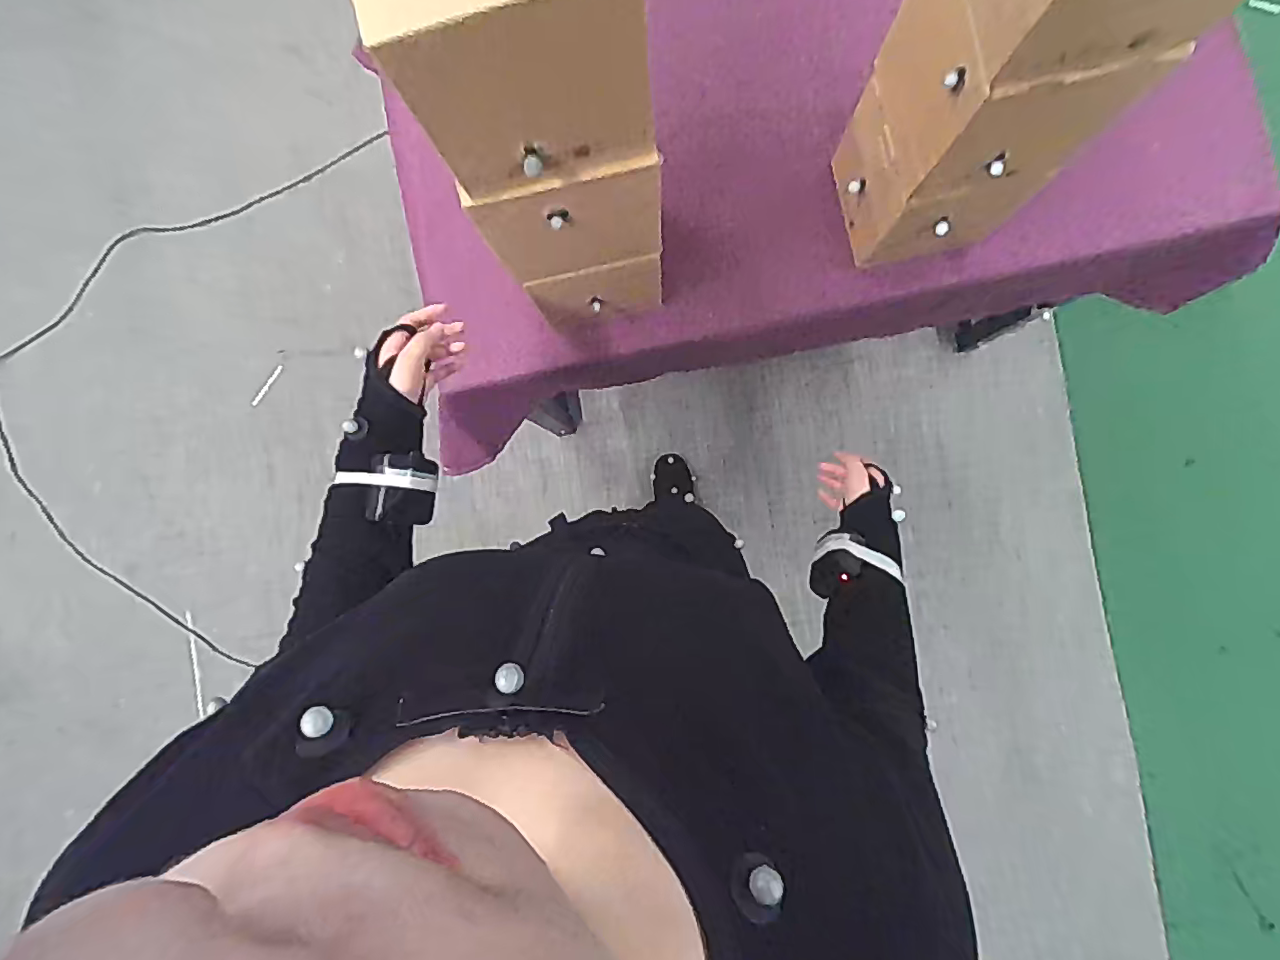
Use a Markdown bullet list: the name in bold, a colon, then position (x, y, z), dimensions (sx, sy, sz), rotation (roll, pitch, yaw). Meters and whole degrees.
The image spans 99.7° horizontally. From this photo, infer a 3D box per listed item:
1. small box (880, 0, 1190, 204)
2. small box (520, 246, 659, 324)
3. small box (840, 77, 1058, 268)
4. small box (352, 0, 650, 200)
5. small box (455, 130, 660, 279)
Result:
- **small box**: position (0.357, -0.408, 0.527), dimensions (0.168, 0.176, 0.179), rotation (-10, 87, 2)
- **small box**: position (-0.069, -0.319, 0.712), dimensions (0.168, 0.176, 0.179), rotation (-11, 87, 2)
- **small box**: position (0.371, -0.395, 0.689), dimensions (0.179, 0.176, 0.168), rotation (-12, 87, 4)
- **small box**: position (-0.091, -0.342, 0.385), dimensions (0.168, 0.176, 0.179), rotation (-13, 87, 3)
- **small box**: position (-0.080, -0.325, 0.548), dimensions (0.179, 0.176, 0.168), rotation (-11, 87, 2)
